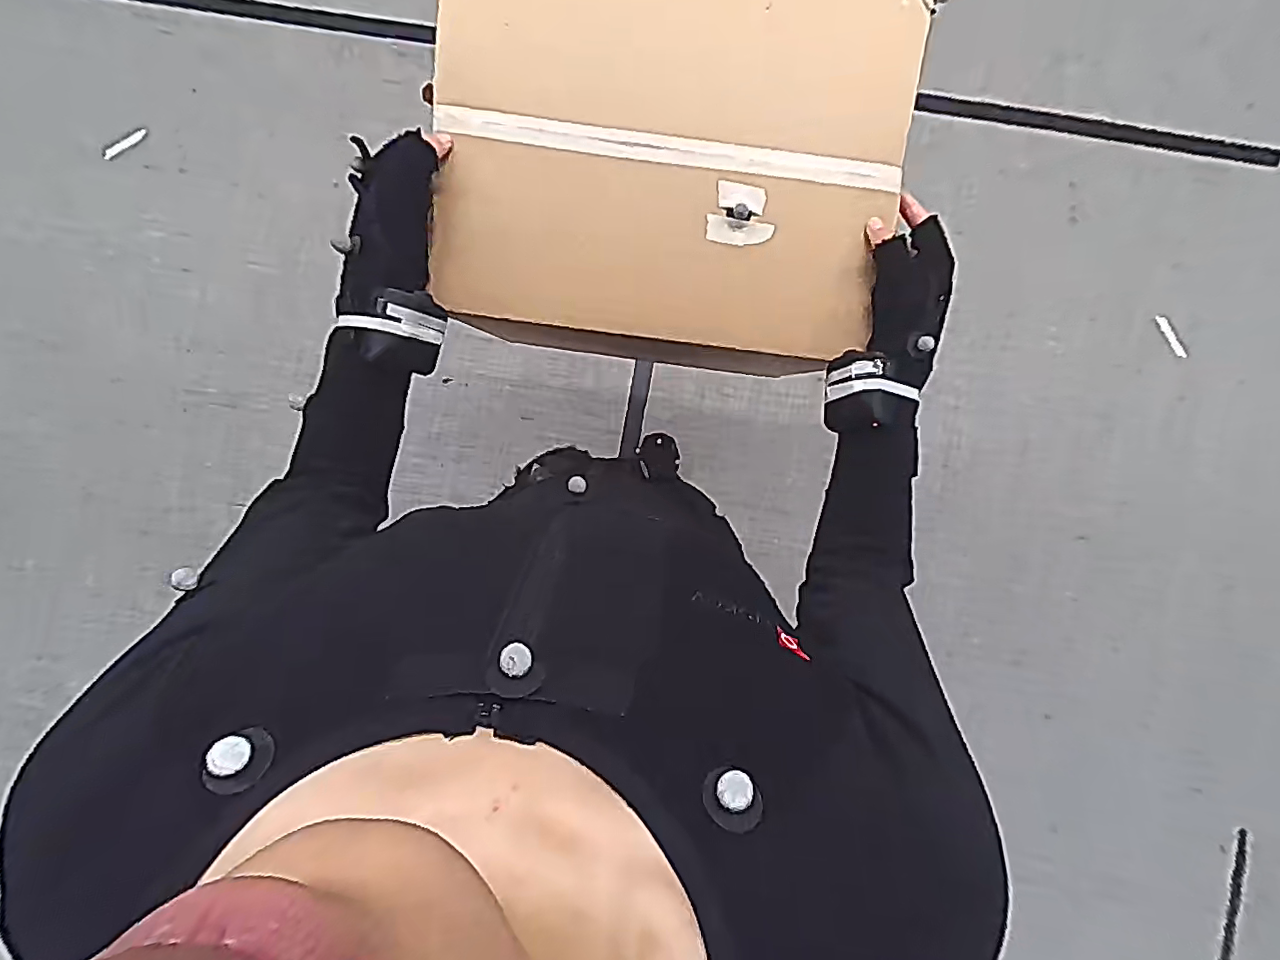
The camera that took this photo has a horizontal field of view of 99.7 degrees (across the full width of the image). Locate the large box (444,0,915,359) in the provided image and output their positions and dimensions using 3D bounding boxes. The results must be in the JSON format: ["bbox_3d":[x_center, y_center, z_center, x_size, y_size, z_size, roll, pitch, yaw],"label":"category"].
[{"bbox_3d":[0.023,-0.324,0.631,0.408,0.320,0.320,6,100,-2],"label":"large box"}]
